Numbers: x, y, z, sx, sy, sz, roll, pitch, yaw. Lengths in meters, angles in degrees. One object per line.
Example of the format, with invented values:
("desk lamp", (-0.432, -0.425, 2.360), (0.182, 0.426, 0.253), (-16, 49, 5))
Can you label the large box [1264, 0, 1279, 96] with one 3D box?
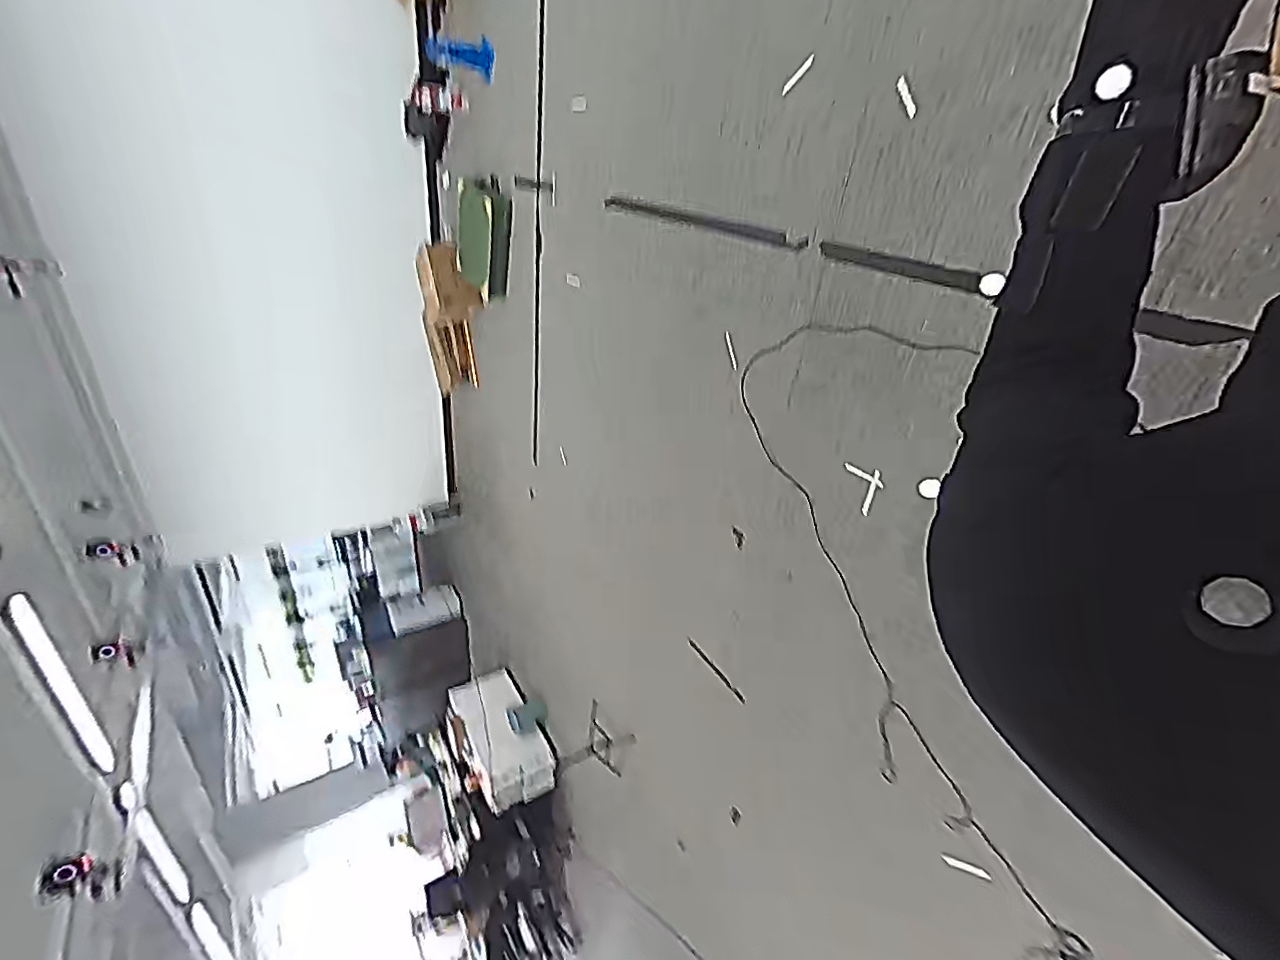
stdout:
("large box", (0.549, -0.375, 0.181), (0.408, 0.320, 0.320), (14, 123, 50))
